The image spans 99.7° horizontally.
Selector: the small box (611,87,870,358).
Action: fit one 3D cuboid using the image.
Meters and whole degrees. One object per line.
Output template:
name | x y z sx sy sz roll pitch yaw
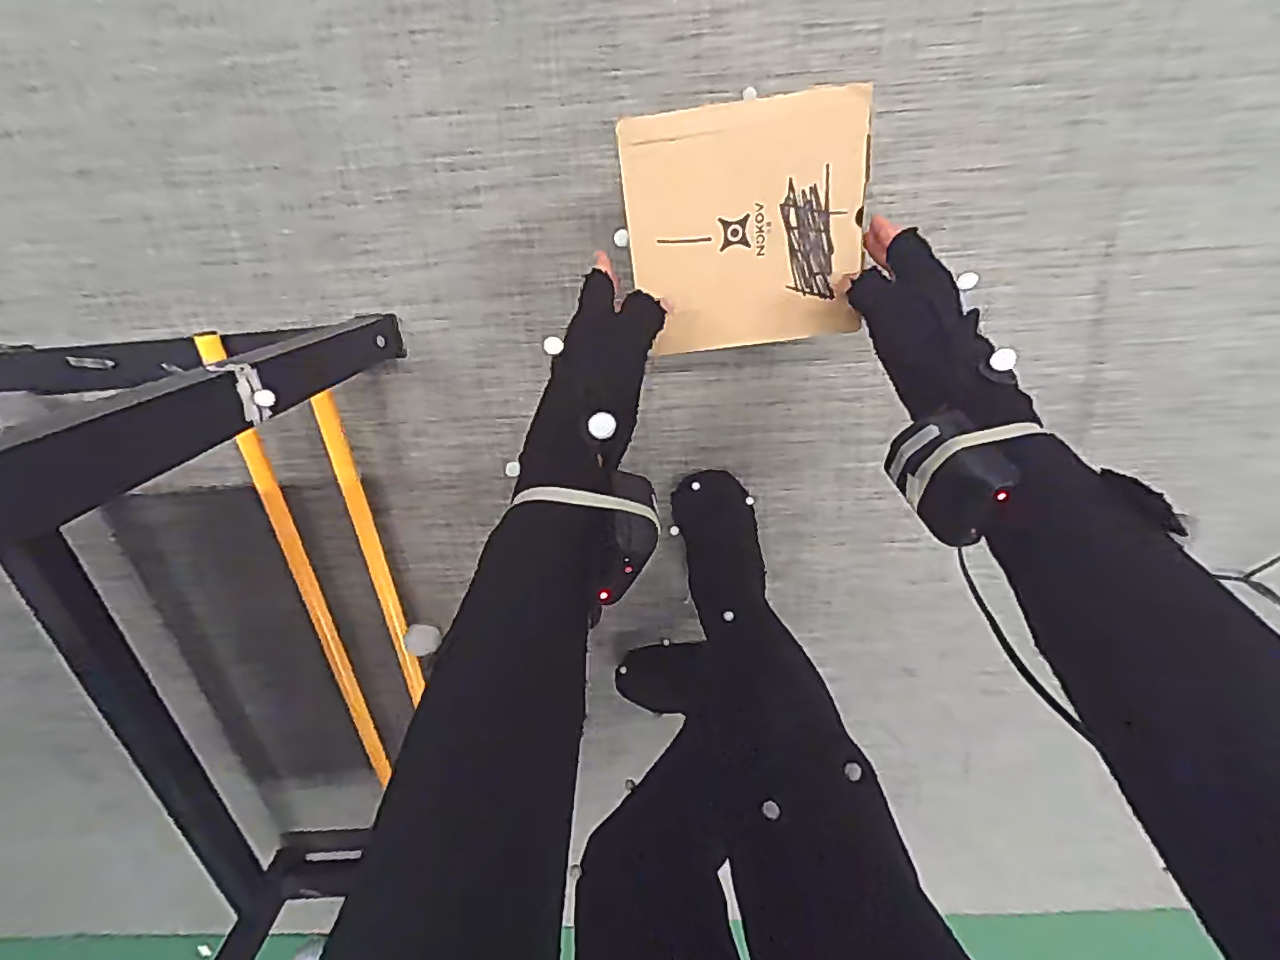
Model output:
small box | 0.076 -0.213 0.465 0.179 0.176 0.168 -6 115 5
